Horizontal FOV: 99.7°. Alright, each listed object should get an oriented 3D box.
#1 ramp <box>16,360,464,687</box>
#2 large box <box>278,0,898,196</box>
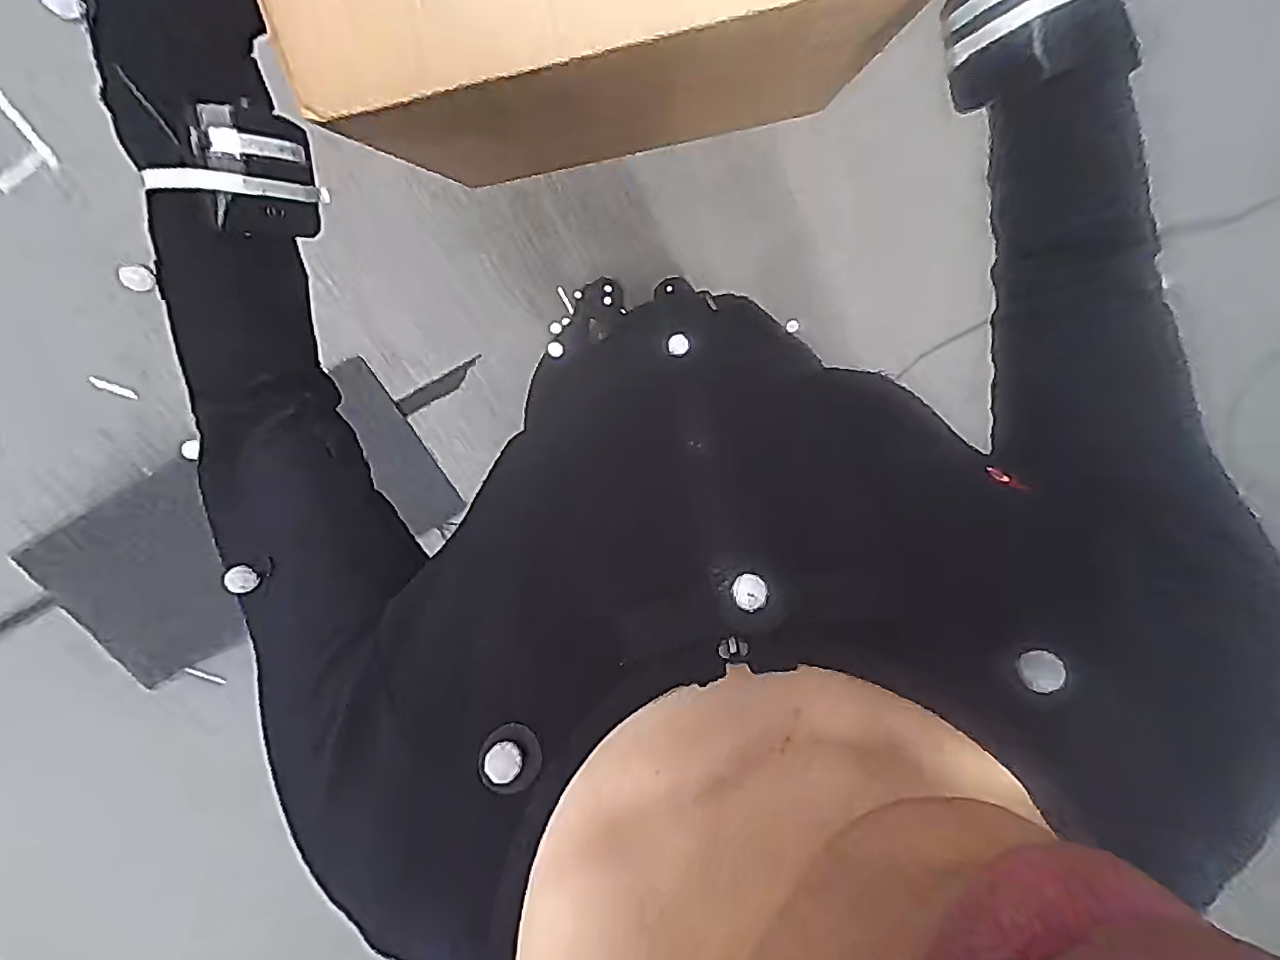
[{"bbox_3d":[-1.040,0.128,1.458,0.991,0.206,0.509,-29,106,8],"label":"ramp"},{"bbox_3d":[-0.042,-0.456,0.421,0.408,0.320,0.320,-11,111,6],"label":"large box"}]
